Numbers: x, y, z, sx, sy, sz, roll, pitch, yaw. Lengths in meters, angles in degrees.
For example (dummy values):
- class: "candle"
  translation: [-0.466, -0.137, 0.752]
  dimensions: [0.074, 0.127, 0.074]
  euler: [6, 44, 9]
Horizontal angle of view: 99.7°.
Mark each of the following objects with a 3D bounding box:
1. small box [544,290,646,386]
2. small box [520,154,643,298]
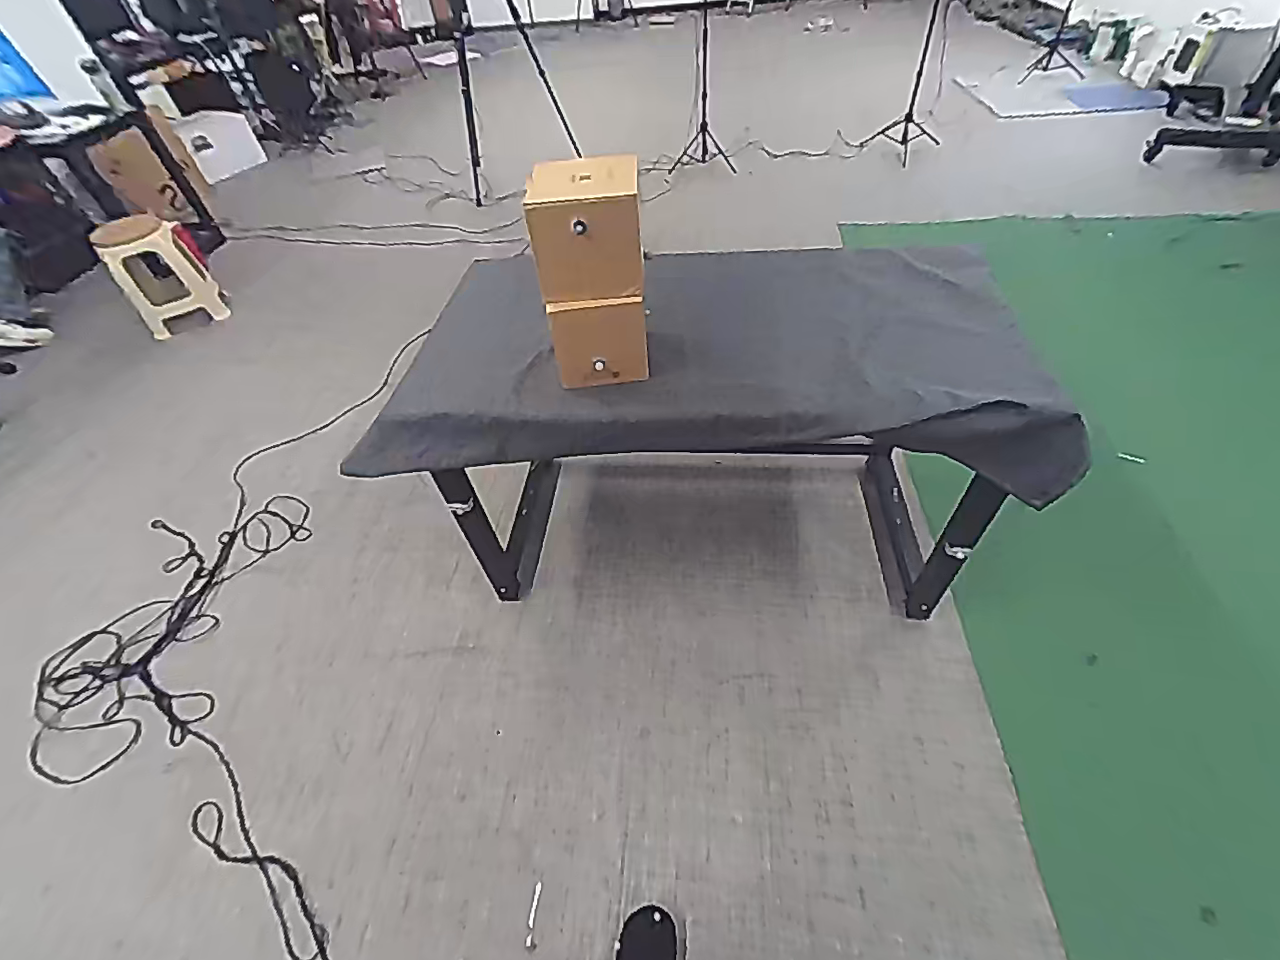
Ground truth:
- class: "small box"
  translation: [-0.081, -0.301, 1.017]
  dimensions: [0.168, 0.176, 0.179]
  euler: [-7, 49, 0]
- class: "small box"
  translation: [-0.088, -0.420, 0.906]
  dimensions: [0.179, 0.176, 0.168]
  euler: [-3, 50, 2]
